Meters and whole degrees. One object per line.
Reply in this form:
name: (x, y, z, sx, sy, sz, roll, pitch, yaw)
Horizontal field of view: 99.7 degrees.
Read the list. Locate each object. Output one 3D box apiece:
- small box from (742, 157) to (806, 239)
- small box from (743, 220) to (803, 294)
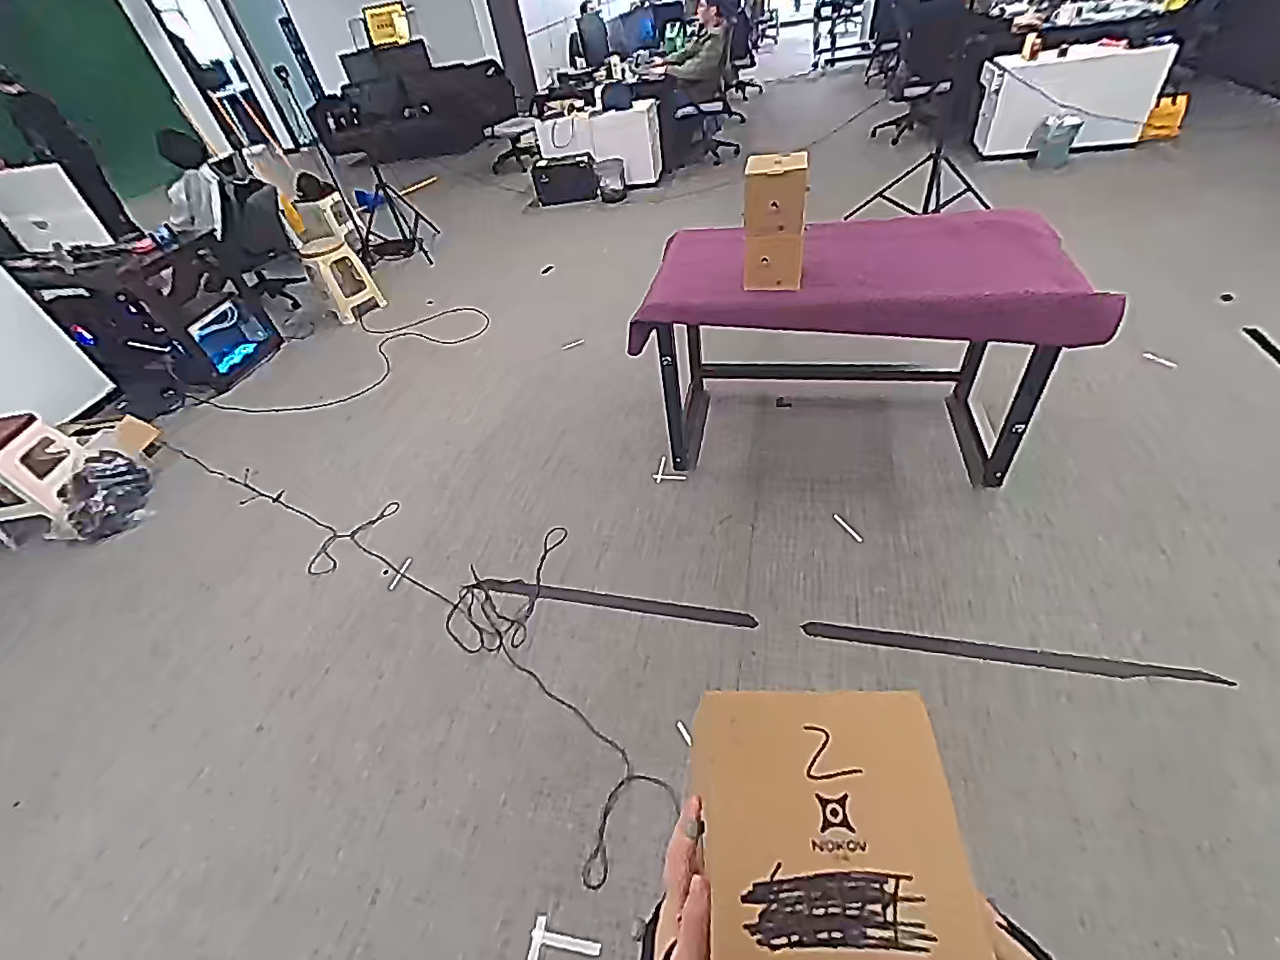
small box: (0.388, -0.809, 1.561, 0.168, 0.176, 0.179, 4, 45, 14)
small box: (0.411, -0.687, 1.669, 0.168, 0.176, 0.179, 5, 44, 15)
